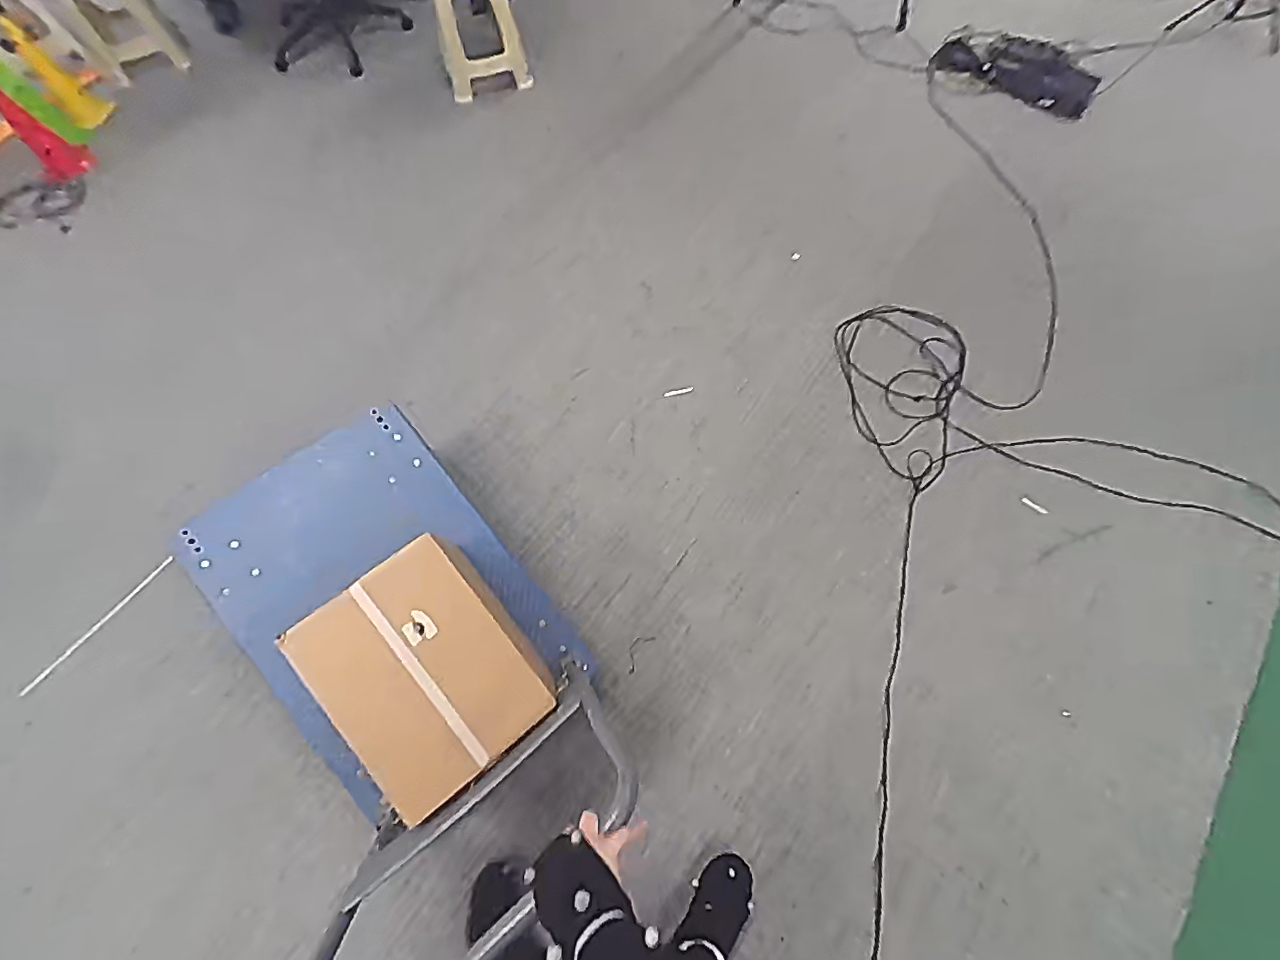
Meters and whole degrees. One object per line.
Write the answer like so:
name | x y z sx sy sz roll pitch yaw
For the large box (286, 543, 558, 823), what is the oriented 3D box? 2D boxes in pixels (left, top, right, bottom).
large box | -0.413 0.390 1.131 0.320 0.320 0.408 -38 86 -15
